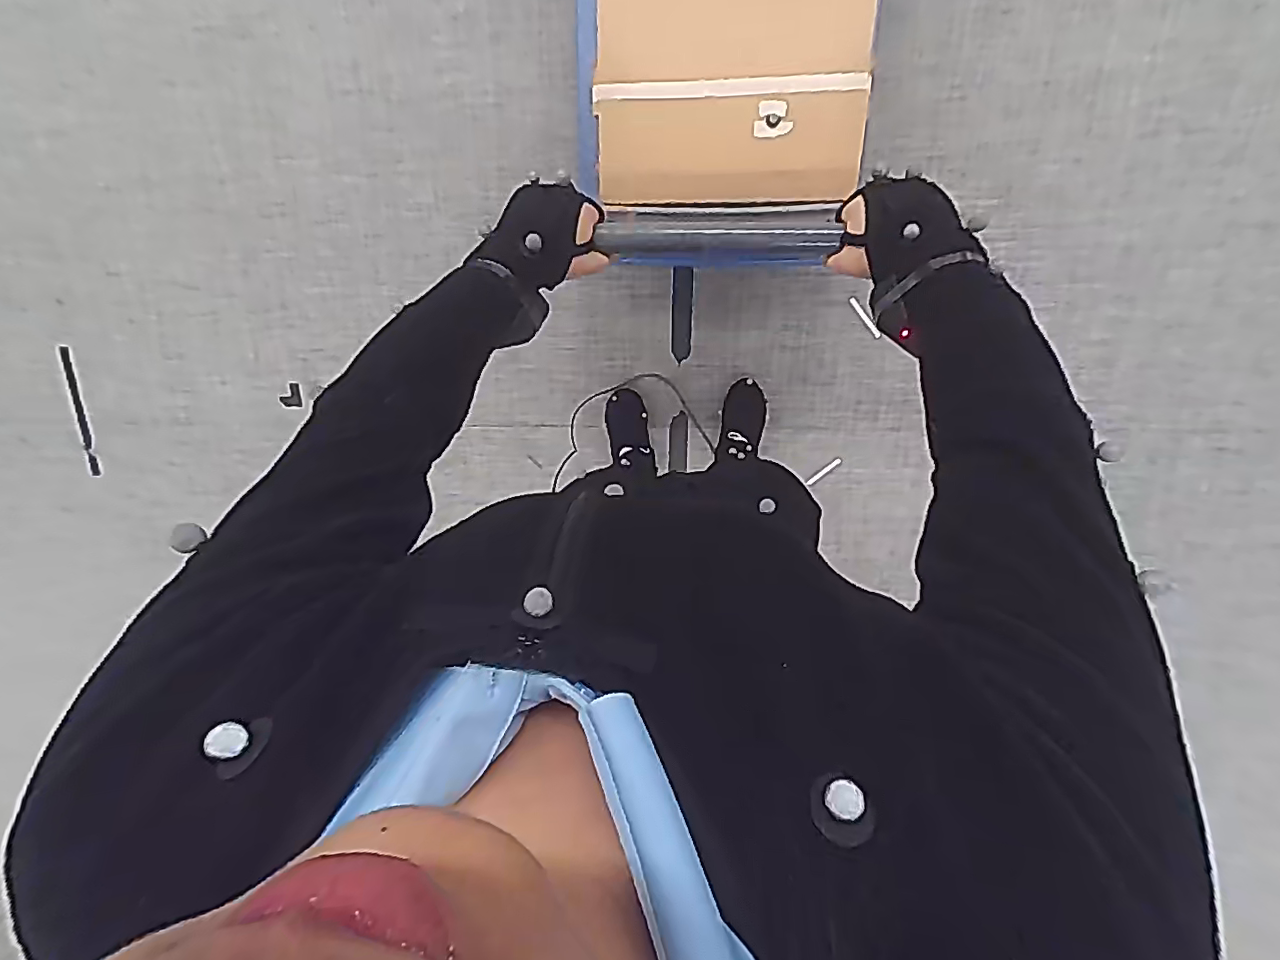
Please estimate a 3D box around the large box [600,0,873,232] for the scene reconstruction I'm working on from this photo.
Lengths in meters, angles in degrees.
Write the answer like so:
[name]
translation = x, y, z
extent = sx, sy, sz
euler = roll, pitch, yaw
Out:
[large box]
translation = 0.153, -0.637, 0.970
extent = 0.408, 0.320, 0.320
euler = 2, 109, 6
